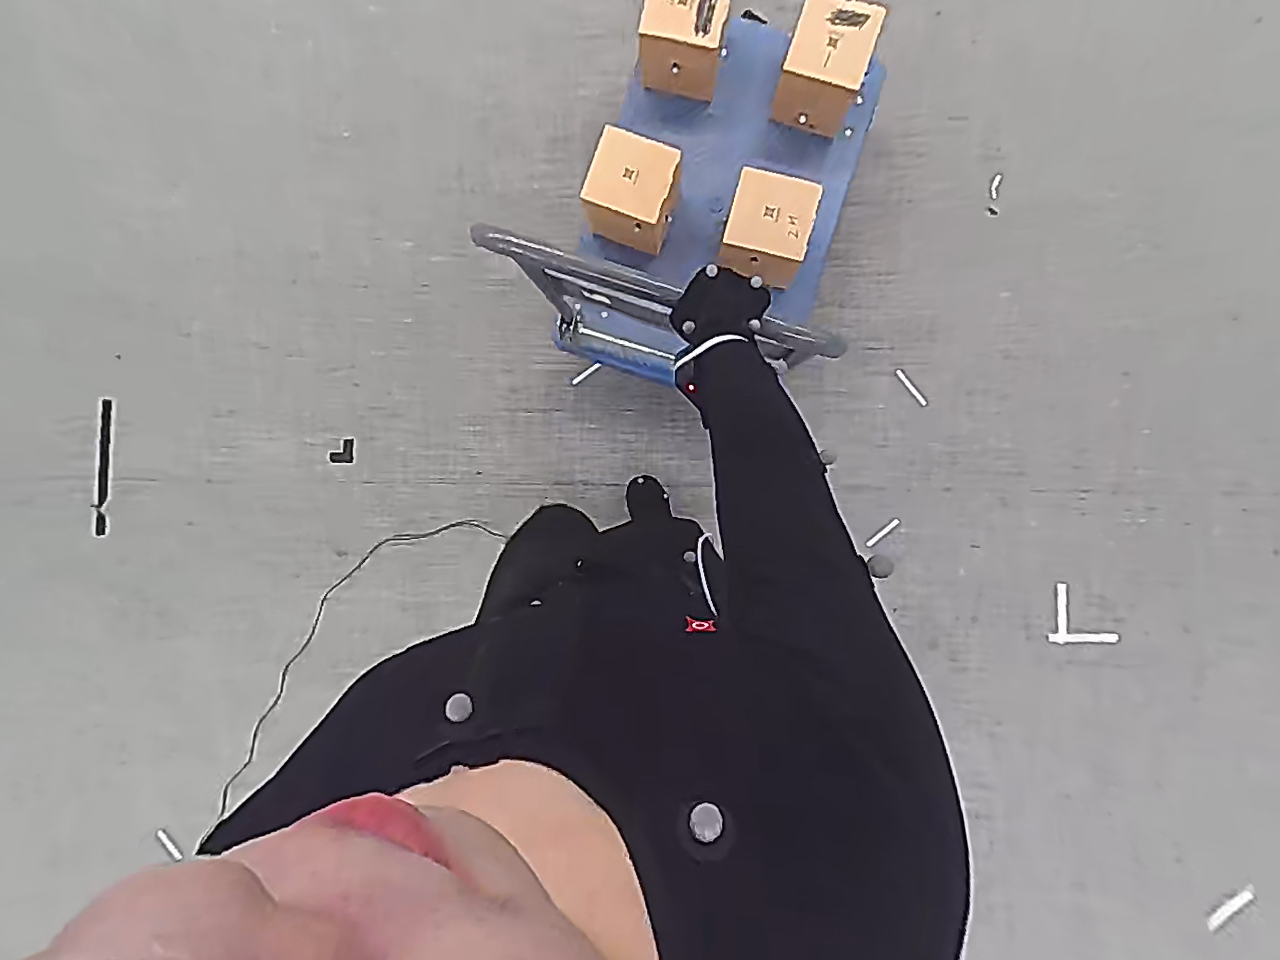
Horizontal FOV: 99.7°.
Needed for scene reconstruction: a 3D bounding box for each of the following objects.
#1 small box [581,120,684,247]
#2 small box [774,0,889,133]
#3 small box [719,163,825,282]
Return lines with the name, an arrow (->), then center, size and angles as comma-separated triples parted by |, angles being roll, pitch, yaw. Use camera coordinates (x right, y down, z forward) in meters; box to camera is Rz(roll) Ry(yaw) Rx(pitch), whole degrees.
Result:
small box -> -0.013, -0.654, 1.215 | 0.179, 0.176, 0.168 | 21, 92, 1
small box -> 0.408, -0.915, 1.187 | 0.168, 0.176, 0.179 | 19, 93, 2
small box -> 0.282, -0.560, 1.200 | 0.179, 0.176, 0.168 | 16, 92, 3
